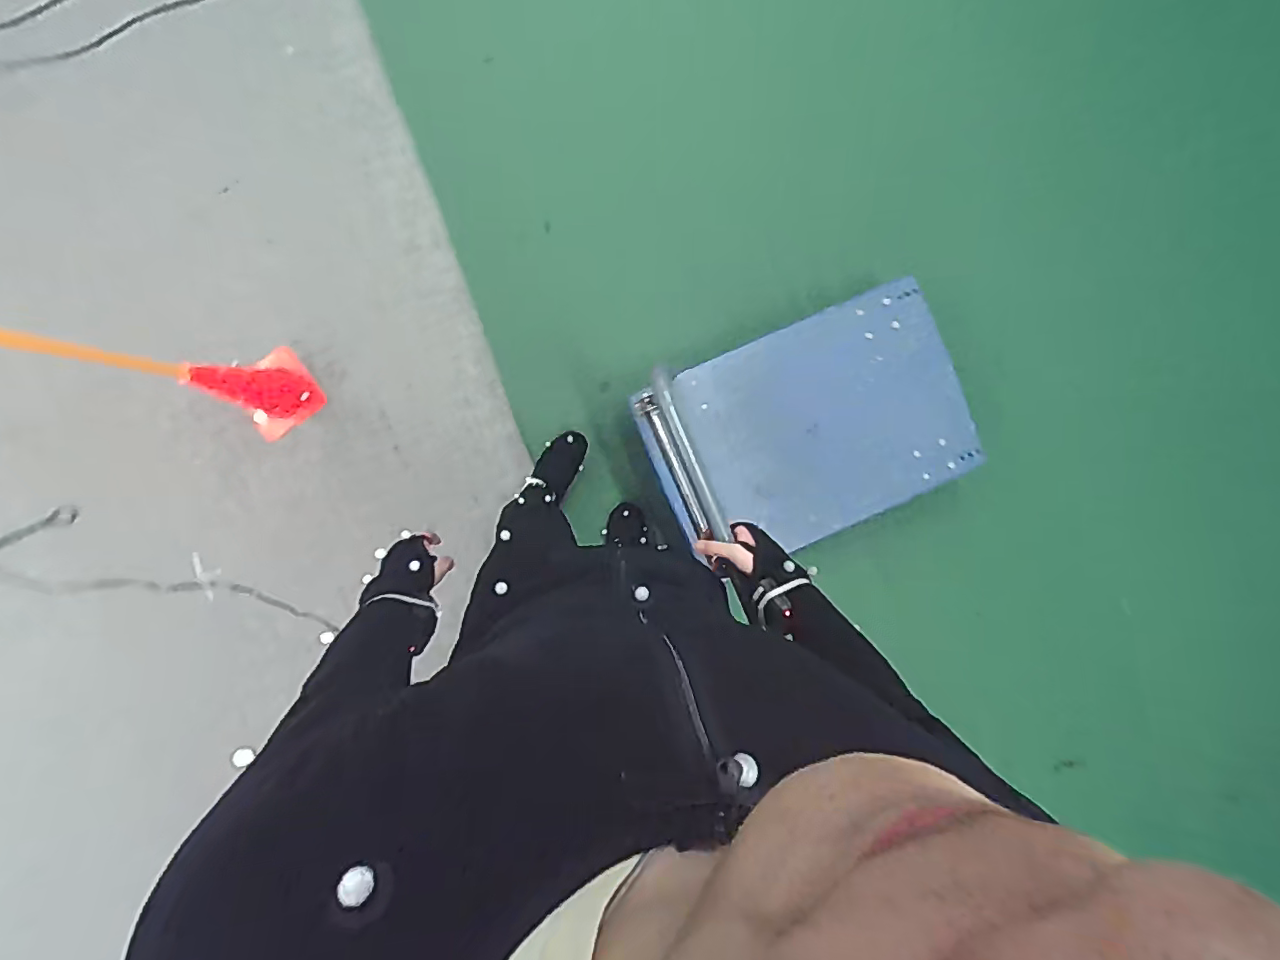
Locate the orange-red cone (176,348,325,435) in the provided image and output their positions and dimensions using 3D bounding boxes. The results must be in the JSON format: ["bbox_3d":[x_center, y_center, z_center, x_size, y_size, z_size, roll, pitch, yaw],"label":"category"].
[{"bbox_3d":[-1.014,-0.250,1.364,0.198,0.360,0.199,-34,92,-3],"label":"orange-red cone"}]
